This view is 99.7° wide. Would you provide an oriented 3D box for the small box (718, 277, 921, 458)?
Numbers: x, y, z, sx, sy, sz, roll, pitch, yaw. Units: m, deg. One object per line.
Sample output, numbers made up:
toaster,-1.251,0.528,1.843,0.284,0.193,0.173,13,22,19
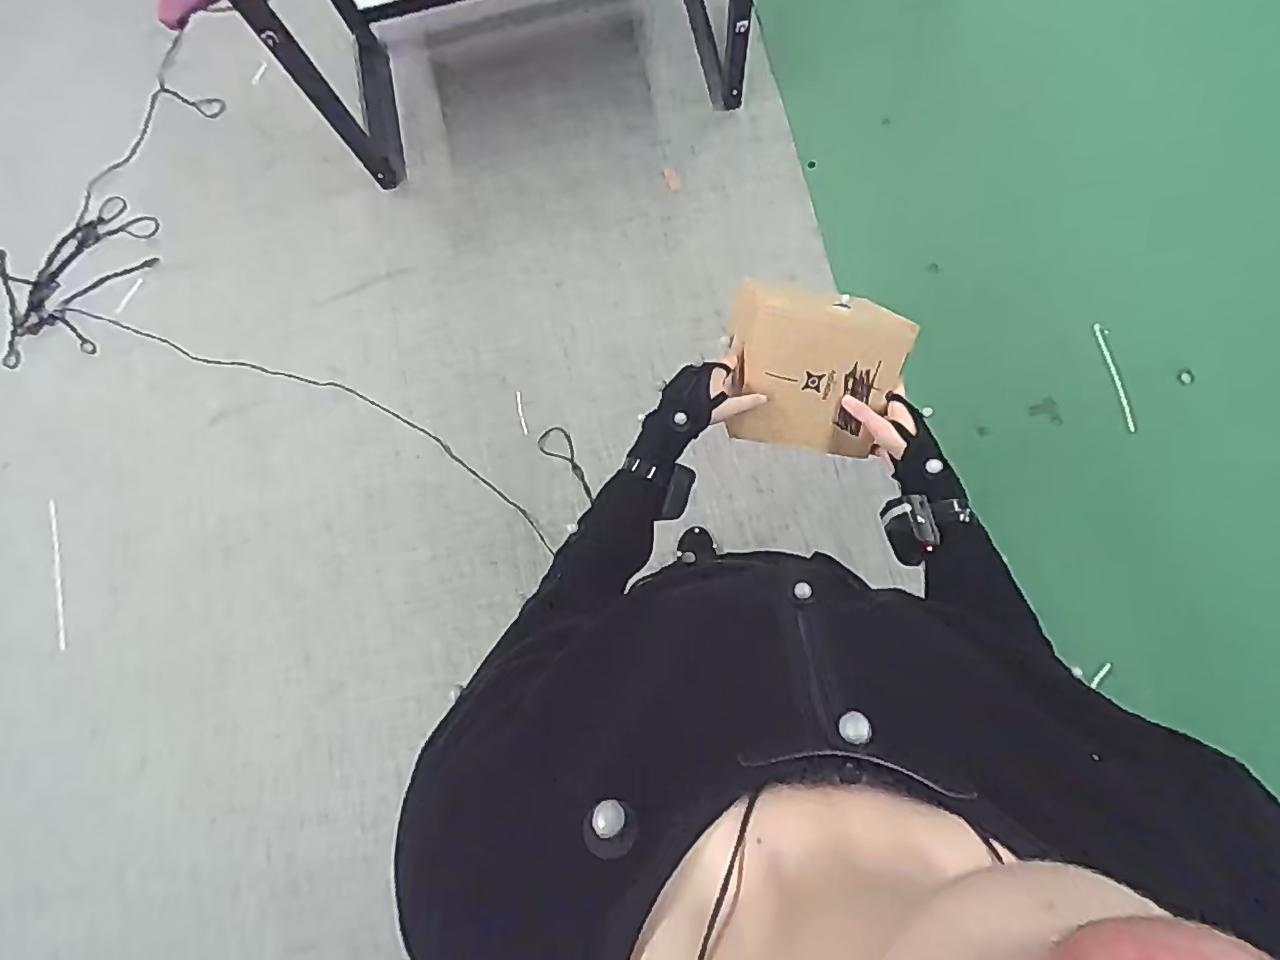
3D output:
small box,0.206,-0.148,0.680,0.179,0.176,0.168,9,120,-3
